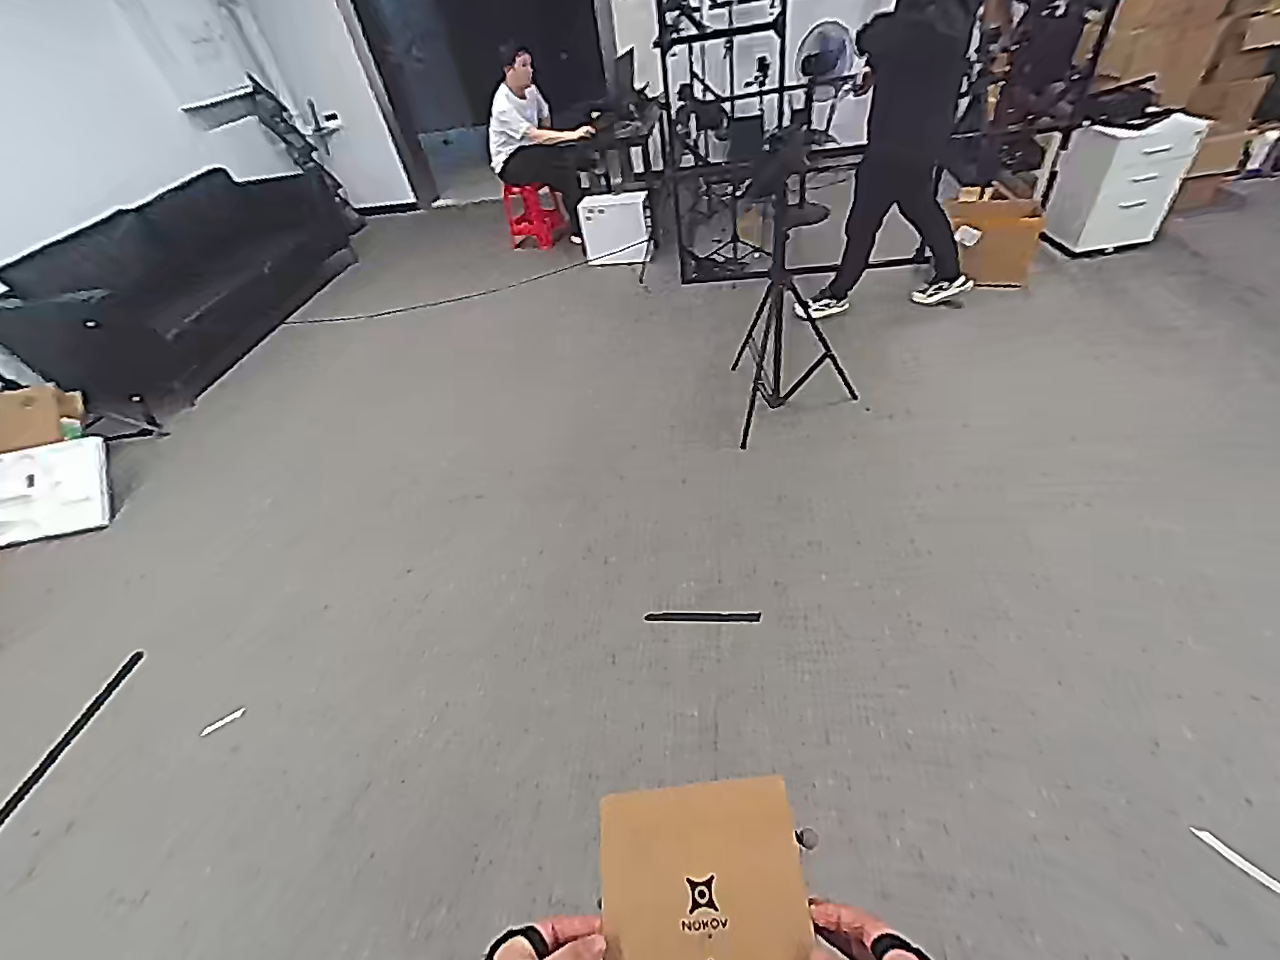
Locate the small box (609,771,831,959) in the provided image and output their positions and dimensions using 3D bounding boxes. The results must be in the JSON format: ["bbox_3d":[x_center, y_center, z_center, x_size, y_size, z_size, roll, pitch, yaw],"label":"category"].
[{"bbox_3d":[0.073,0.379,0.478,0.168,0.176,0.179,-12,49,8],"label":"small box"}]
